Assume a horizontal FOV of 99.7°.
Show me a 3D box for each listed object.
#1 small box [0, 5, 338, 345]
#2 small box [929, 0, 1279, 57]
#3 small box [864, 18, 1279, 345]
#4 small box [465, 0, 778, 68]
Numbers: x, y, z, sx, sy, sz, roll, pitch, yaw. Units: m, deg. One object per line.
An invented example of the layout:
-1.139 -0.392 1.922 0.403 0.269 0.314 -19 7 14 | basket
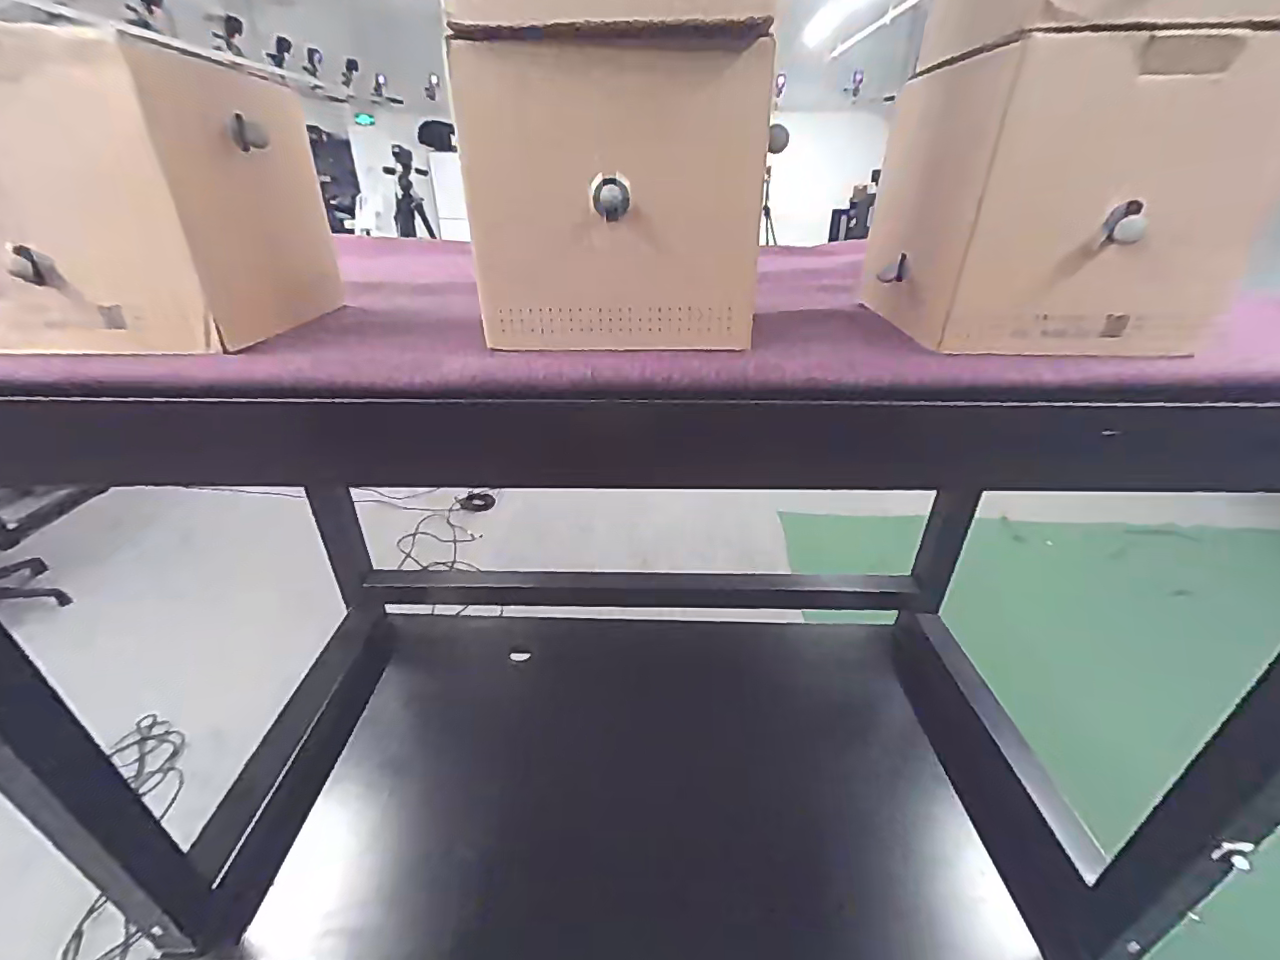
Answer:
-0.338 -0.200 0.378 0.168 0.176 0.179 0 29 -3 | small box
0.288 -0.340 0.298 0.168 0.176 0.179 1 31 5 | small box
0.278 -0.199 0.380 0.168 0.176 0.179 1 30 2 | small box
-0.005 -0.343 0.298 0.168 0.176 0.179 2 30 4 | small box
